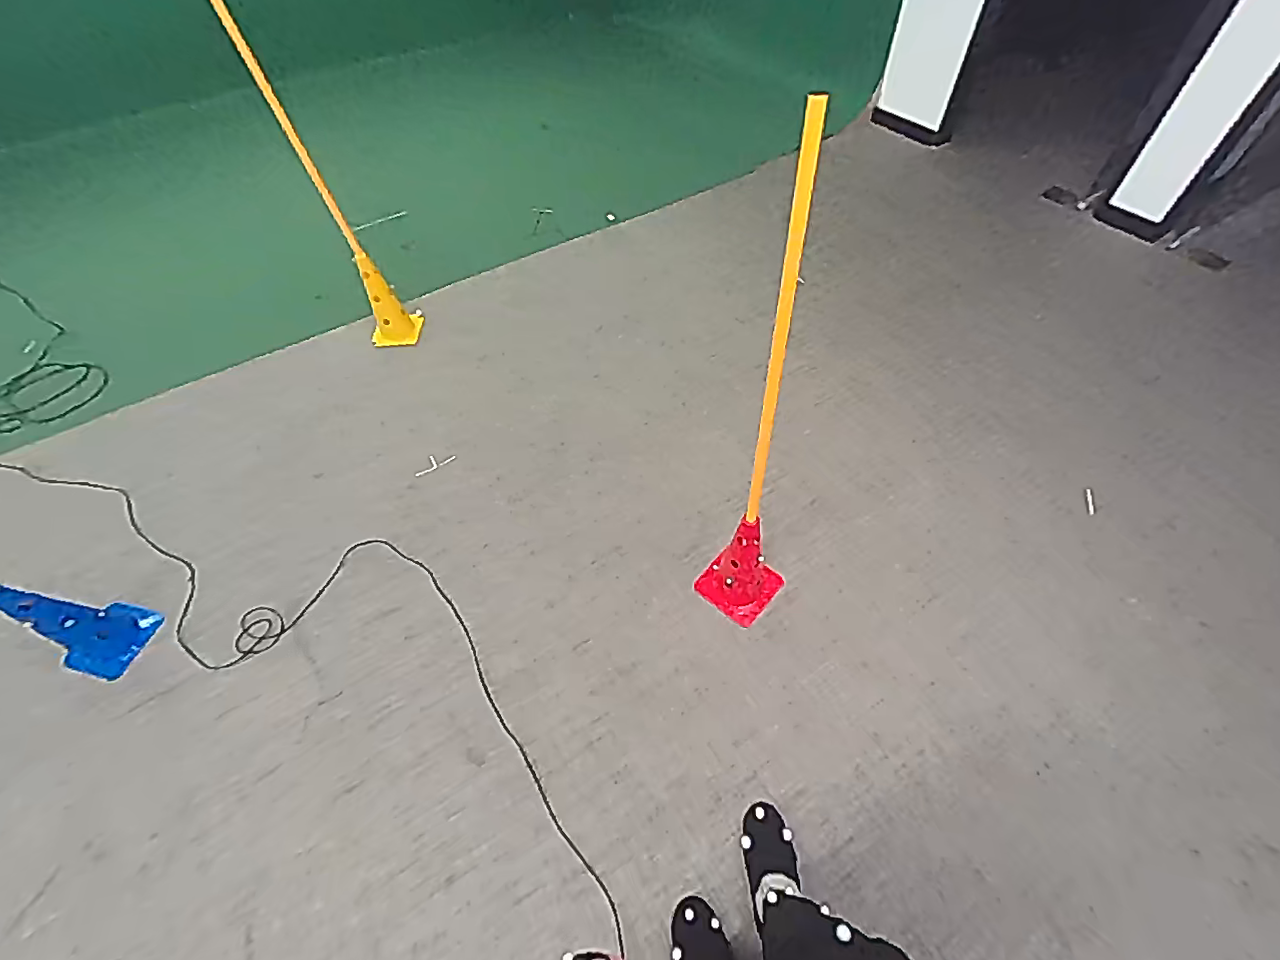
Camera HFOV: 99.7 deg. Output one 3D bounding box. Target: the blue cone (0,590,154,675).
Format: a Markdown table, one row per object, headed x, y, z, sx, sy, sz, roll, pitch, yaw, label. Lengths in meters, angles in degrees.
| x | y | z | sx | sy | sz | roll | pitch | yaw | label |
| --- | --- | --- | --- | --- | --- | --- | --- | --- | --- |
| -1.531 | 0.366 | 1.419 | 0.192 | 0.380 | 0.193 | 10 | 57 | 9 | blue cone |
